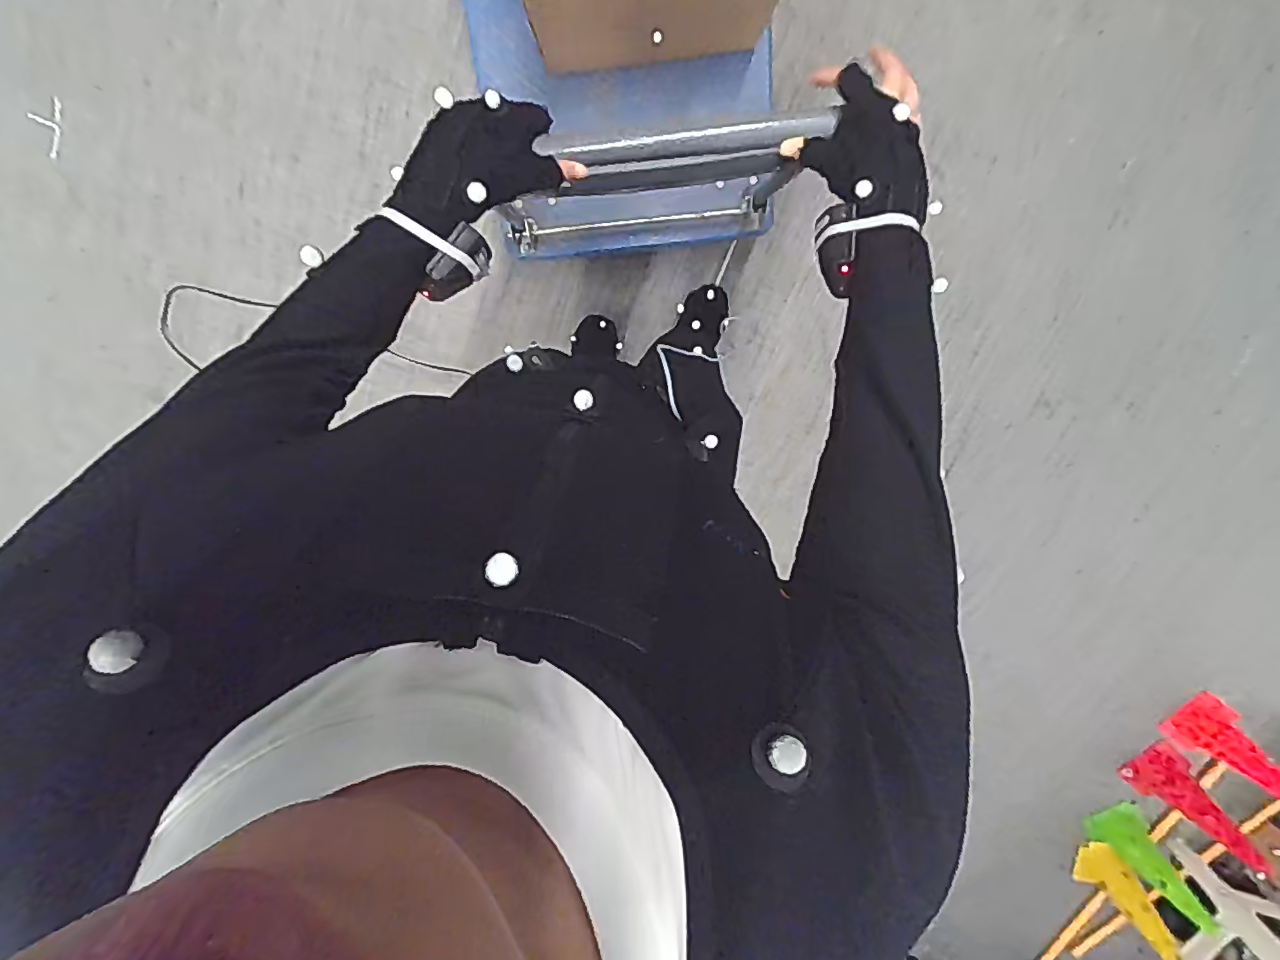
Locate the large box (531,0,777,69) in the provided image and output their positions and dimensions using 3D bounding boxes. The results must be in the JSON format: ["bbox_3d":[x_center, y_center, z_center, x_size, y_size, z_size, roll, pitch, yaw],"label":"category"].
[{"bbox_3d":[0.016,-0.919,0.864,0.408,0.320,0.320,-7,109,3],"label":"large box"}]
